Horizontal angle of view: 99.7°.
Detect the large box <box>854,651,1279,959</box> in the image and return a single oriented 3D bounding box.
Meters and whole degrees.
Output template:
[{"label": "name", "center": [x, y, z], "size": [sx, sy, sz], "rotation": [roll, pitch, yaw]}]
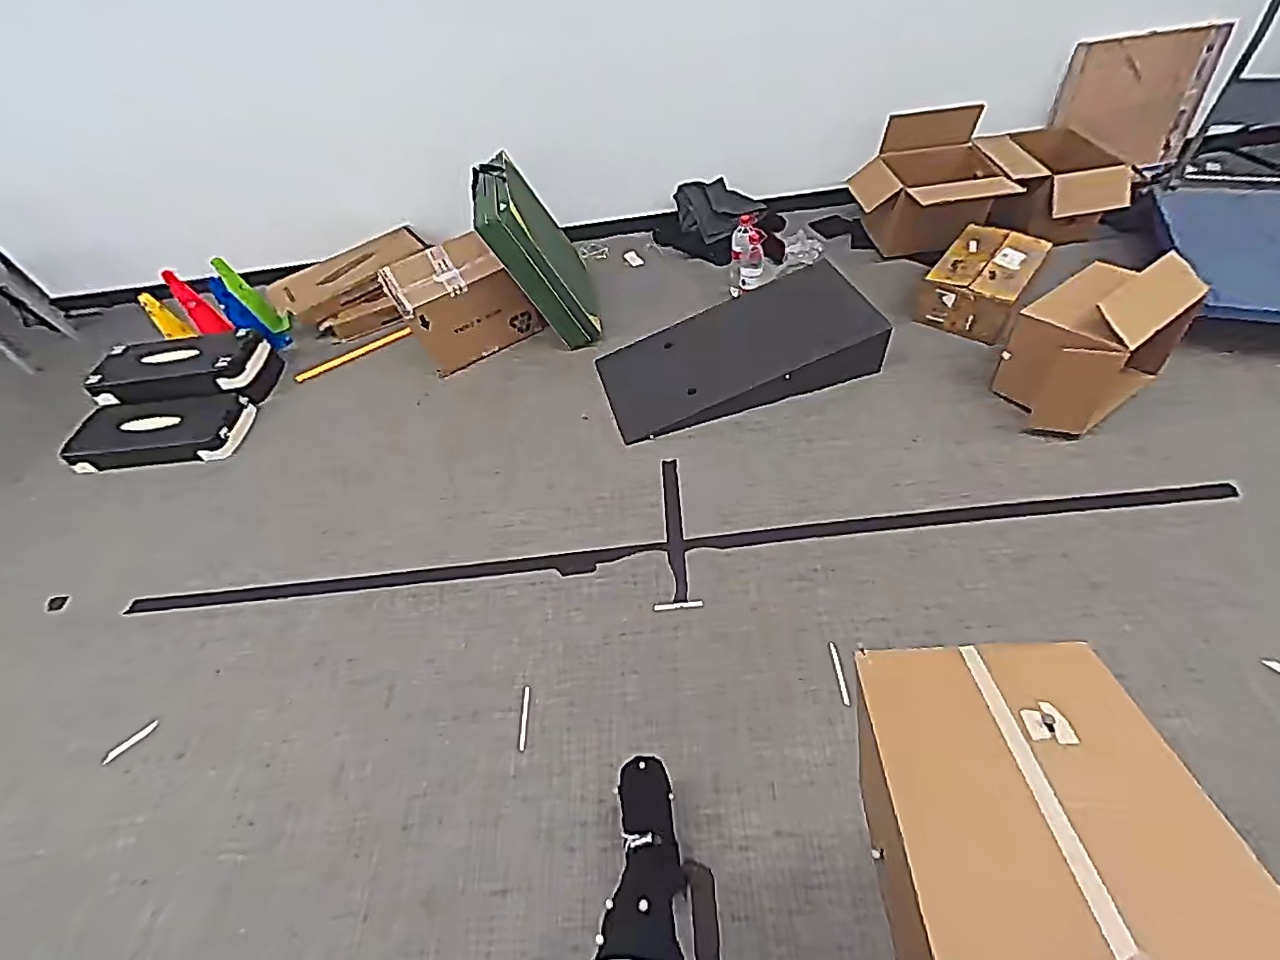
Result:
[{"label": "large box", "center": [0.480, 0.483, 0.696], "size": [0.320, 0.320, 0.408], "rotation": [-5, 26, 12]}]
